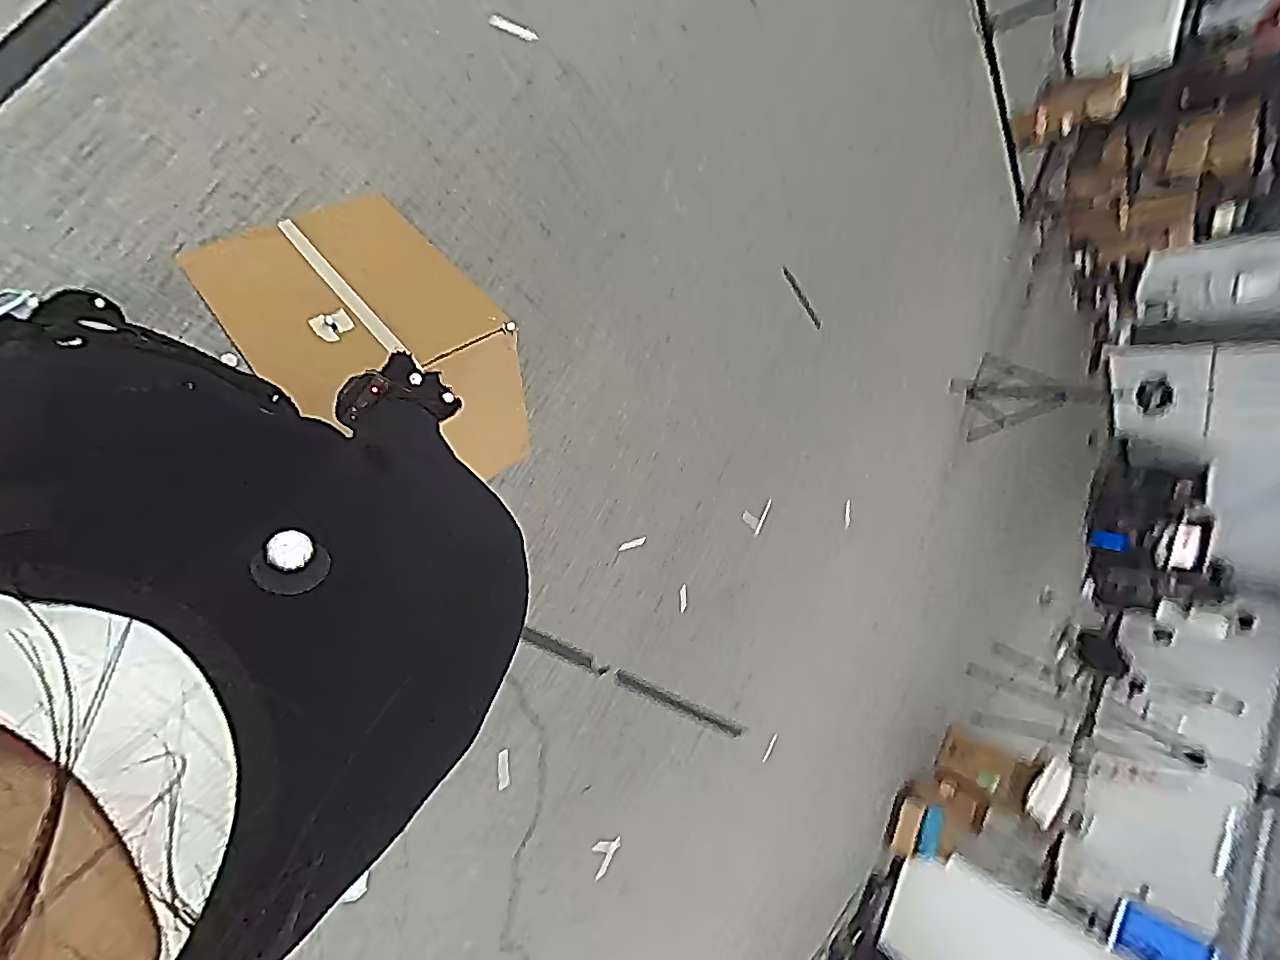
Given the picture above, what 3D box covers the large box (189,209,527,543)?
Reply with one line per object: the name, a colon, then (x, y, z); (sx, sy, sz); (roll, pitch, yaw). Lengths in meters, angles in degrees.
large box: (-0.438, -0.176, 0.912); (0.320, 0.408, 0.320); (-35, 157, -24)
